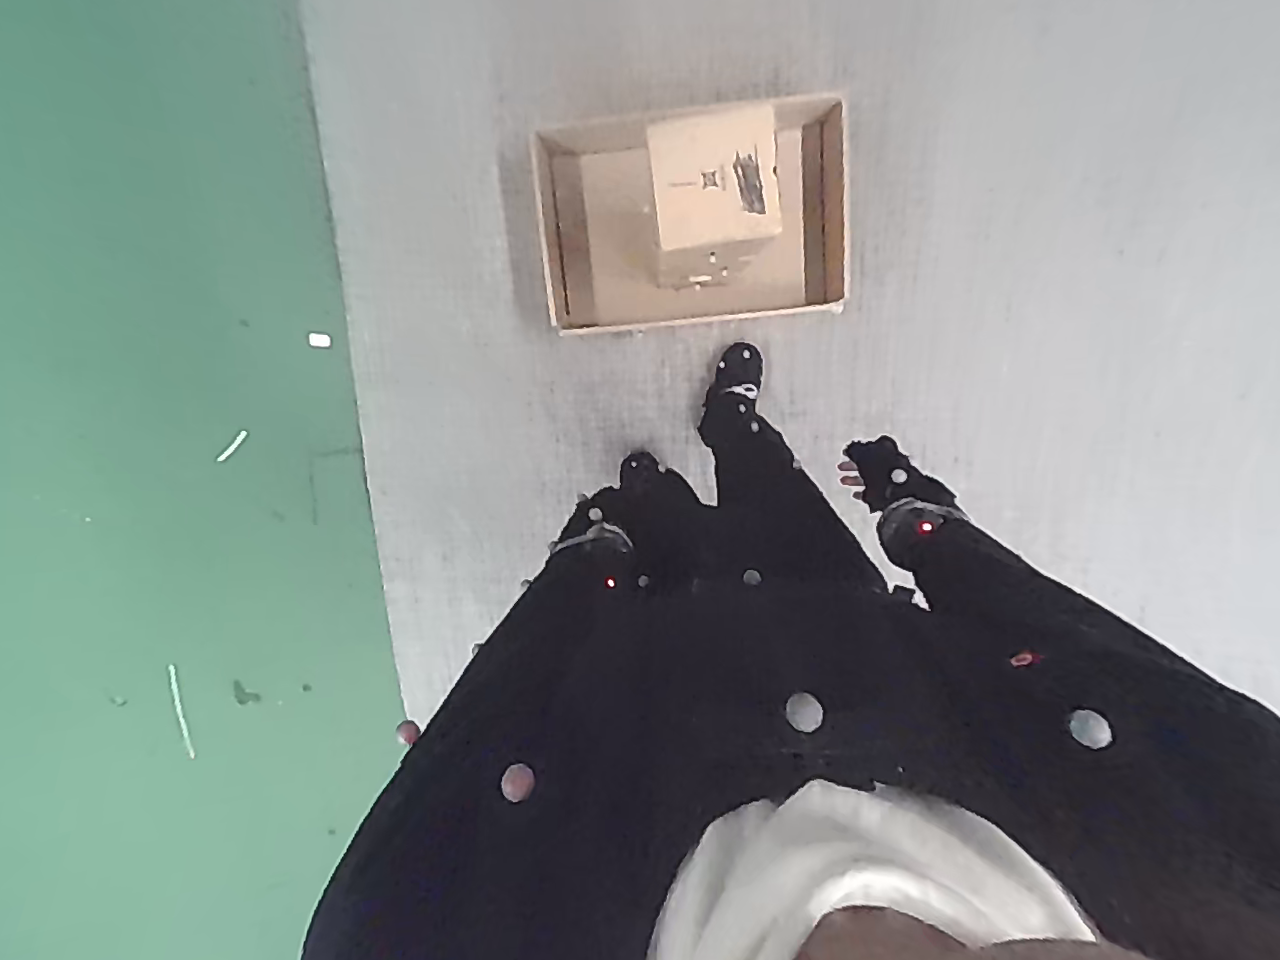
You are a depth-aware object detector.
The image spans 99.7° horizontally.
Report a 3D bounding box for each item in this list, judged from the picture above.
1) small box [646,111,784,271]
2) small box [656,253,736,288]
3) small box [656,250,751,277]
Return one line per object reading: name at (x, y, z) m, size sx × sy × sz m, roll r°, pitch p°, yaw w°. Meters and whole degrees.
small box at (0.108, -0.432, 0.837) m, size 0.179 × 0.176 × 0.168 m, roll -10°, pitch 103°, yaw 3°
small box at (0.117, -0.510, 1.154) m, size 0.168 × 0.176 × 0.179 m, roll -2°, pitch 103°, yaw 3°
small box at (0.111, -0.476, 0.995) m, size 0.168 × 0.176 × 0.179 m, roll -3°, pitch 102°, yaw 2°
